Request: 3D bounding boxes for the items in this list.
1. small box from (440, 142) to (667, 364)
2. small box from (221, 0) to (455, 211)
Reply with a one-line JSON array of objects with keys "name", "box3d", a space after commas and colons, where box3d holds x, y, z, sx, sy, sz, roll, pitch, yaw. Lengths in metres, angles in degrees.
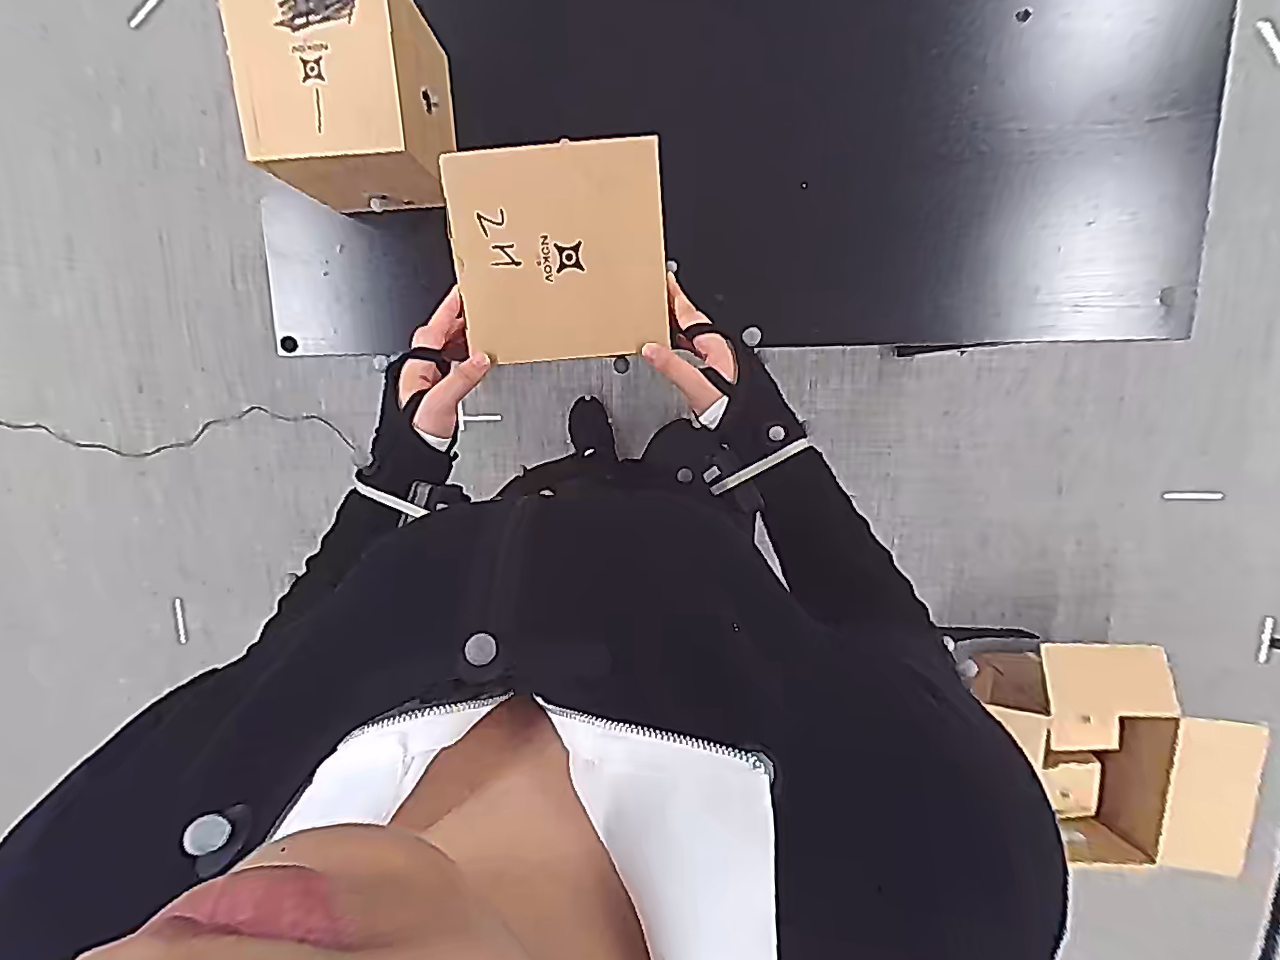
[{"name": "small box", "box3d": [-0.069, -0.207, 0.527, 0.179, 0.176, 0.168, -4, 105, 1]}, {"name": "small box", "box3d": [-0.320, -0.425, 0.610, 0.168, 0.176, 0.179, -3, 101, 2]}]
